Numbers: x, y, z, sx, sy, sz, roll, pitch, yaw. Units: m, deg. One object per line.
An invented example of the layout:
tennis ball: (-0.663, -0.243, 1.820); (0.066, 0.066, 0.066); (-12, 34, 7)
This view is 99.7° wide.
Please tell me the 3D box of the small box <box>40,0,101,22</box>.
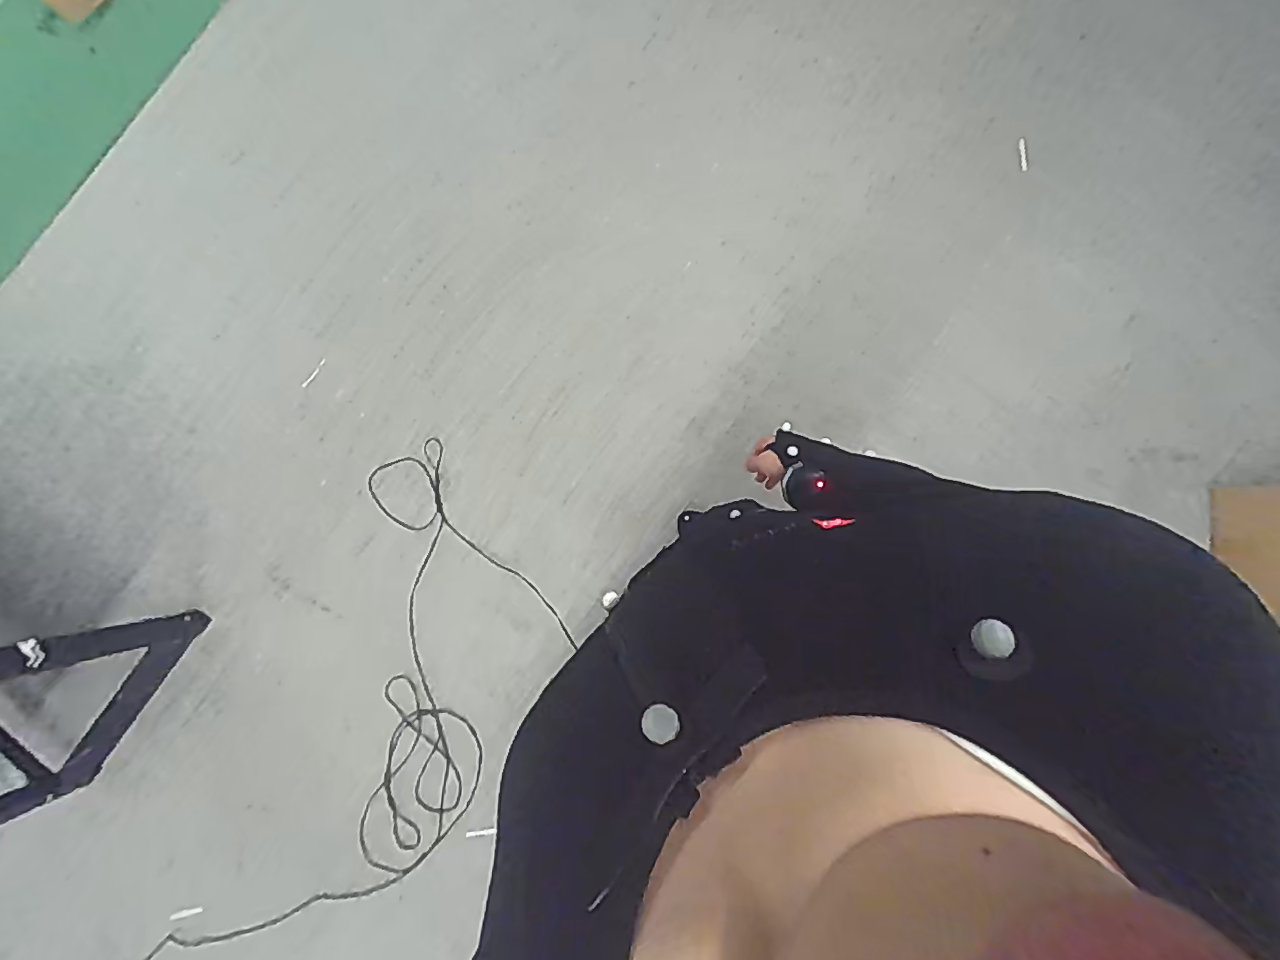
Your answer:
small box: (-1.816, -1.565, 1.654); (0.179, 0.176, 0.168); (44, 88, 5)
